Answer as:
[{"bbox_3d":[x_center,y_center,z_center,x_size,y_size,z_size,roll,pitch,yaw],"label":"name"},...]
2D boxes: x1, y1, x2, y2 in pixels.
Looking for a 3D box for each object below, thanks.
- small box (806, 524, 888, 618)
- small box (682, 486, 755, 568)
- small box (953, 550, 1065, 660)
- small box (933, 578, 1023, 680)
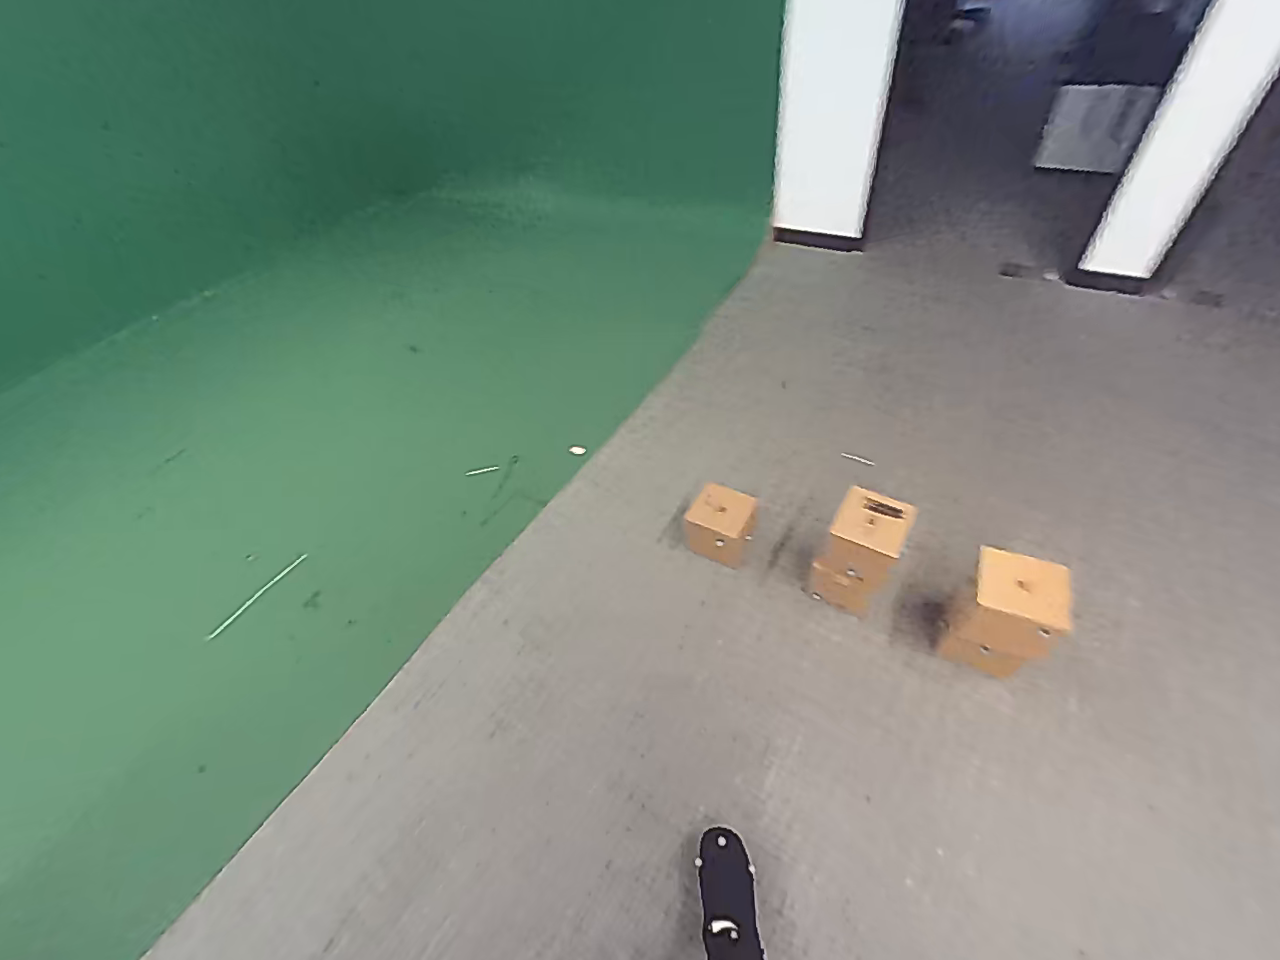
[{"bbox_3d":[0.588,0.264,1.552,0.168,0.176,0.179,21,55,25],"label":"small box"},{"bbox_3d":[0.249,0.152,1.706,0.179,0.176,0.168,21,54,25],"label":"small box"},{"bbox_3d":[0.854,0.294,1.264,0.179,0.176,0.168,15,53,20],"label":"small box"},{"bbox_3d":[0.880,0.389,1.394,0.179,0.176,0.168,19,56,23],"label":"small box"}]
